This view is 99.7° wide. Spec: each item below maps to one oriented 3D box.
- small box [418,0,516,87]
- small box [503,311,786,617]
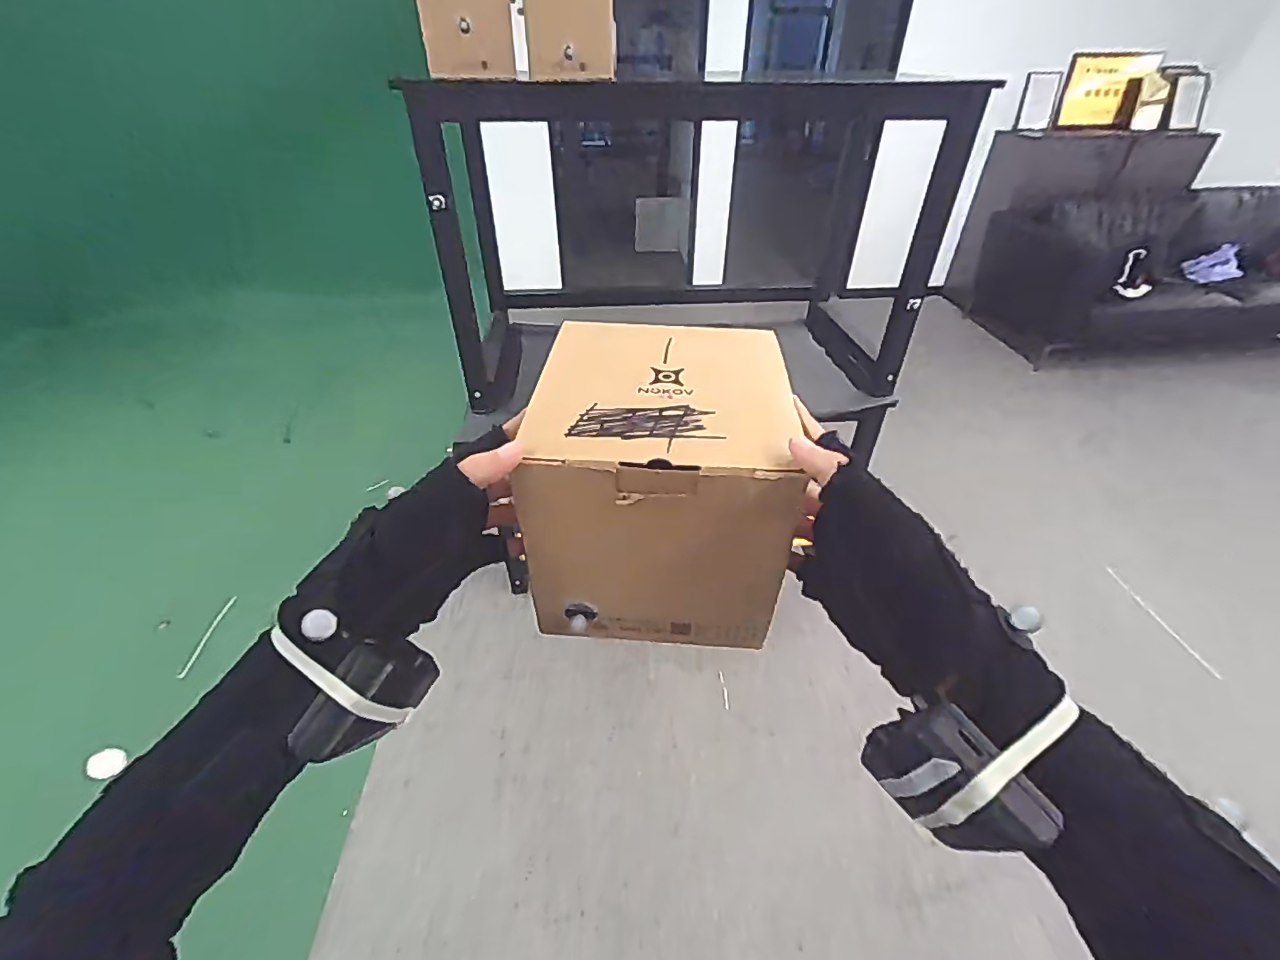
[{"bbox_3d":[-0.345,-0.904,1.096,0.168,0.176,0.179,-6,38,-10],"label":"small box"},{"bbox_3d":[0.008,-0.014,0.417,0.168,0.176,0.179,3,39,3],"label":"small box"}]
